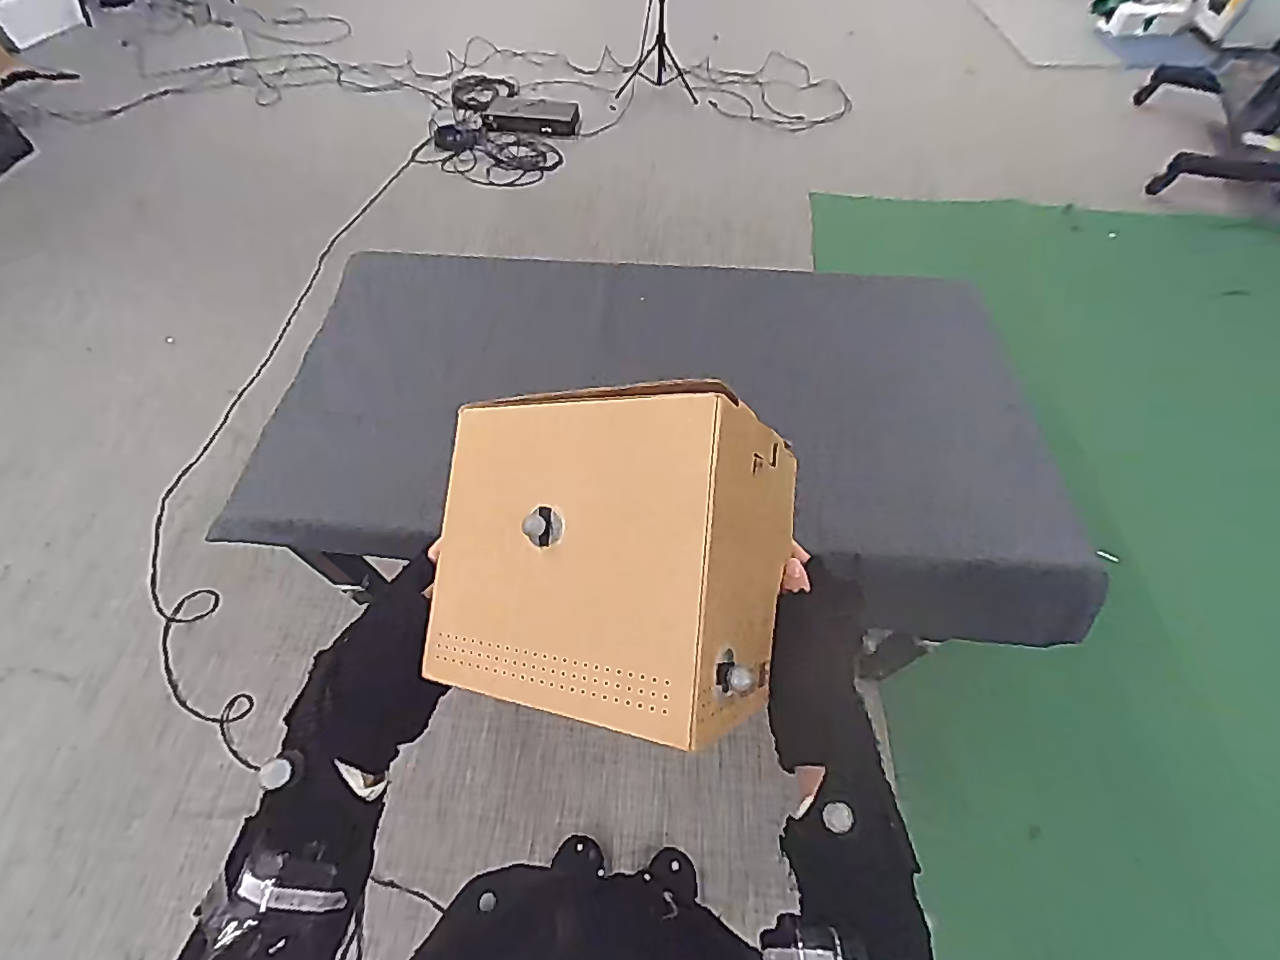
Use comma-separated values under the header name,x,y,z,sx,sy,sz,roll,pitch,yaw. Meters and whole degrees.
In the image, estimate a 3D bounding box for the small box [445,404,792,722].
name,x,y,z,sx,sy,sz,roll,pitch,yaw
small box,-0.006,0.054,0.374,0.179,0.168,0.176,1,80,30
